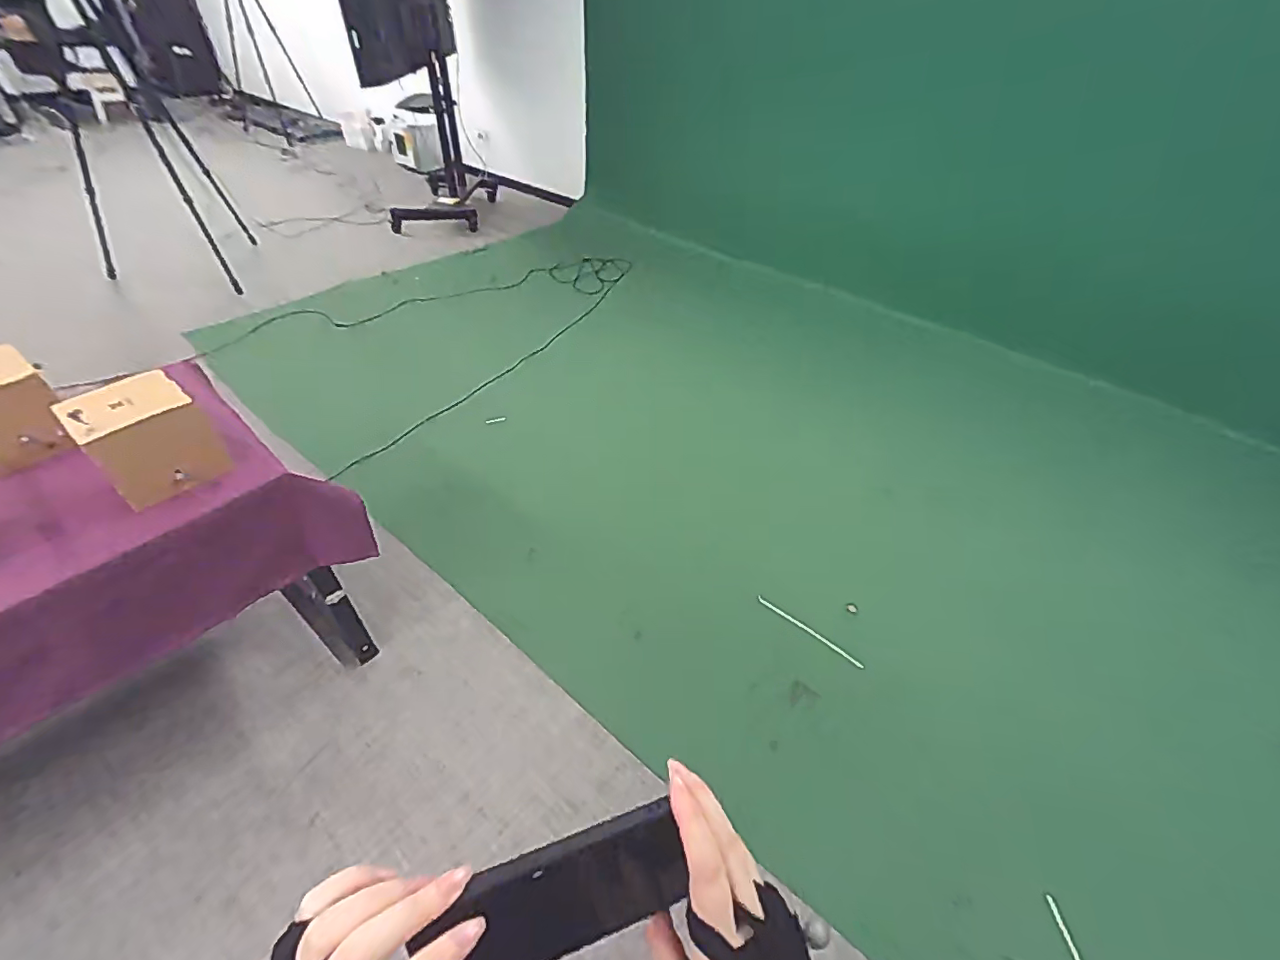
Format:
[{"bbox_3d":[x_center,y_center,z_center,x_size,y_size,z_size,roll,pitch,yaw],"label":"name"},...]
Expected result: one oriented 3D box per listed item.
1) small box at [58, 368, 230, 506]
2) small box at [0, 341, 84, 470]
[{"bbox_3d":[-0.938,-0.084,1.043,0.168,0.176,0.179,31,50,26],"label":"small box"},{"bbox_3d":[-1.275,-0.149,1.087,0.179,0.176,0.168,30,50,25],"label":"small box"}]
